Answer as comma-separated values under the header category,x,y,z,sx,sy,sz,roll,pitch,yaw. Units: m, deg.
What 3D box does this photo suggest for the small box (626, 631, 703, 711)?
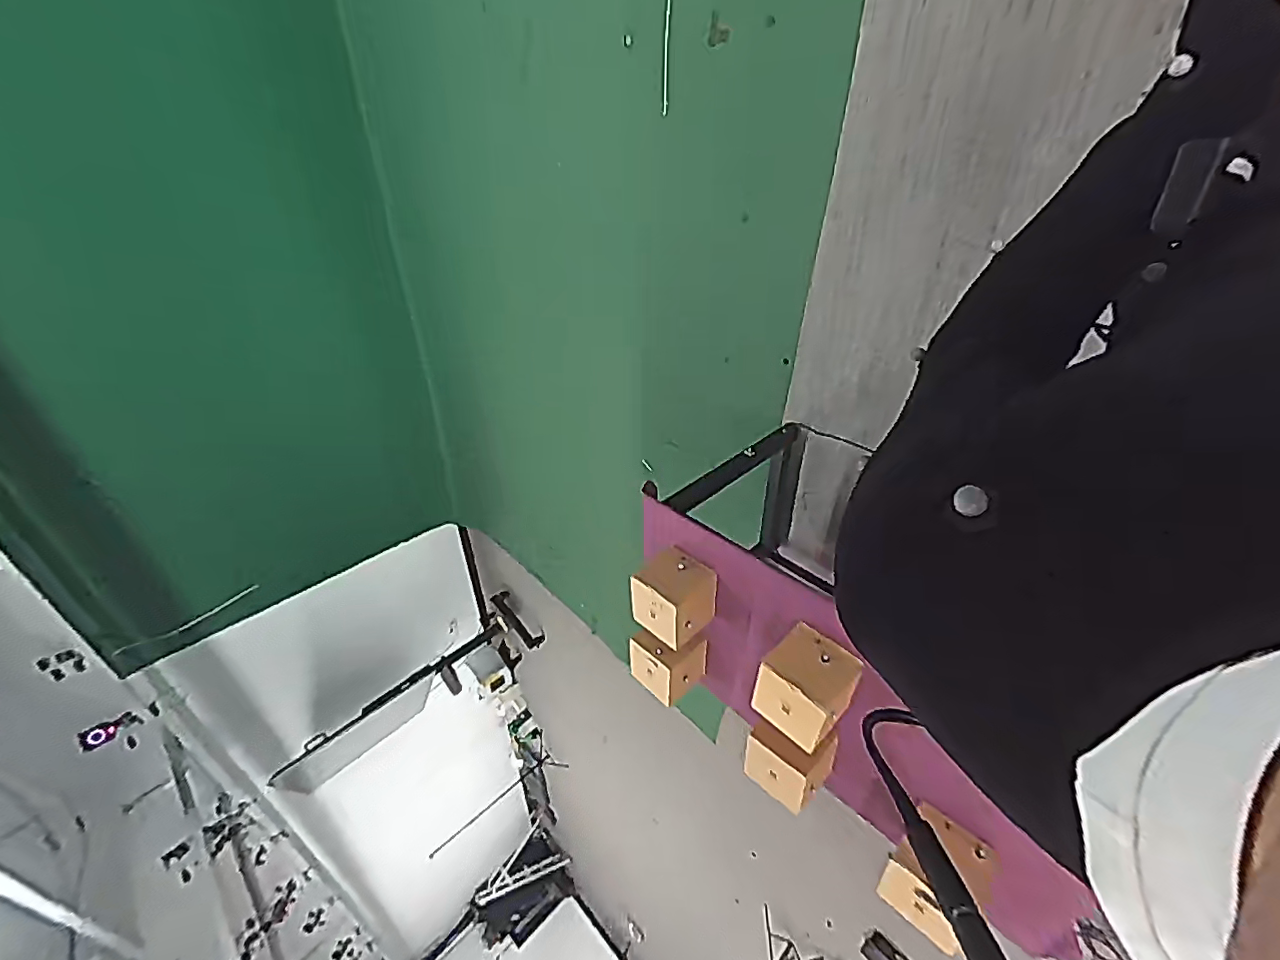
category,x,y,z,sx,sy,sz,roll,pitch,yaw
small box,0.076,0.551,1.642,0.168,0.176,0.179,28,133,36

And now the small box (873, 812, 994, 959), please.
category,x,y,z,sx,sy,sz,roll,pitch,yaw
small box,0.637,0.872,1.172,0.168,0.176,0.179,27,133,39

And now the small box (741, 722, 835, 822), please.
category,x,y,z,sx,sy,sz,roll,pitch,yaw
small box,0.378,0.715,1.386,0.168,0.176,0.179,27,131,37

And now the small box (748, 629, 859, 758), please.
category,x,y,z,sx,sy,sz,roll,pitch,yaw
small box,0.372,0.480,1.235,0.168,0.176,0.179,32,136,35

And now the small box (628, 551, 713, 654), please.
category,x,y,z,sx,sy,sz,roll,pitch,yaw
small box,0.085,0.330,1.479,0.168,0.176,0.179,28,134,35
